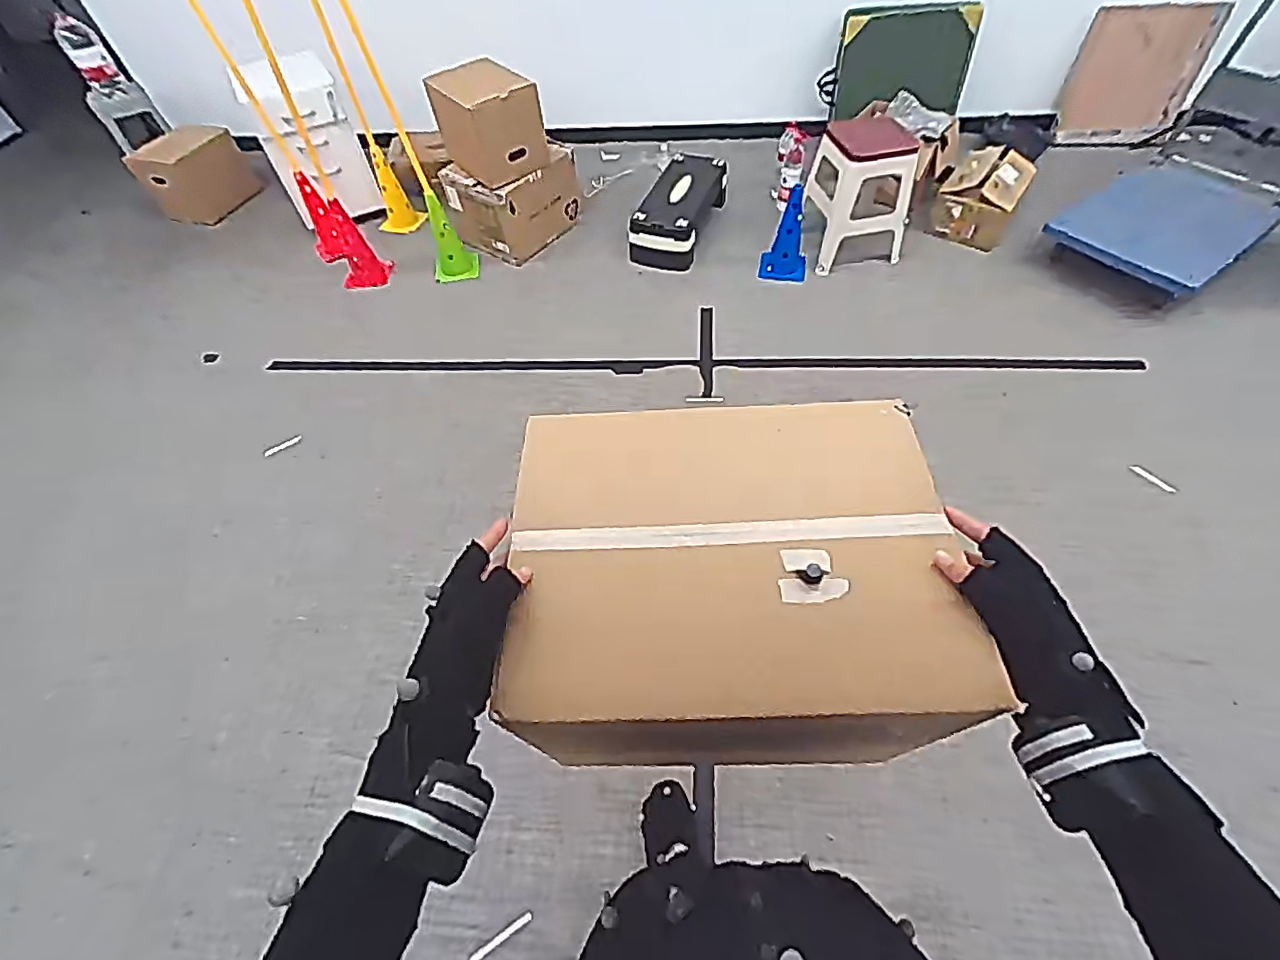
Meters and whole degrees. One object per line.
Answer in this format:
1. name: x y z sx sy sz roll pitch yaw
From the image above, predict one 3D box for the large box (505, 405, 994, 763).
1. large box: 0.087 0.136 0.638 0.408 0.320 0.320 -2 57 1
